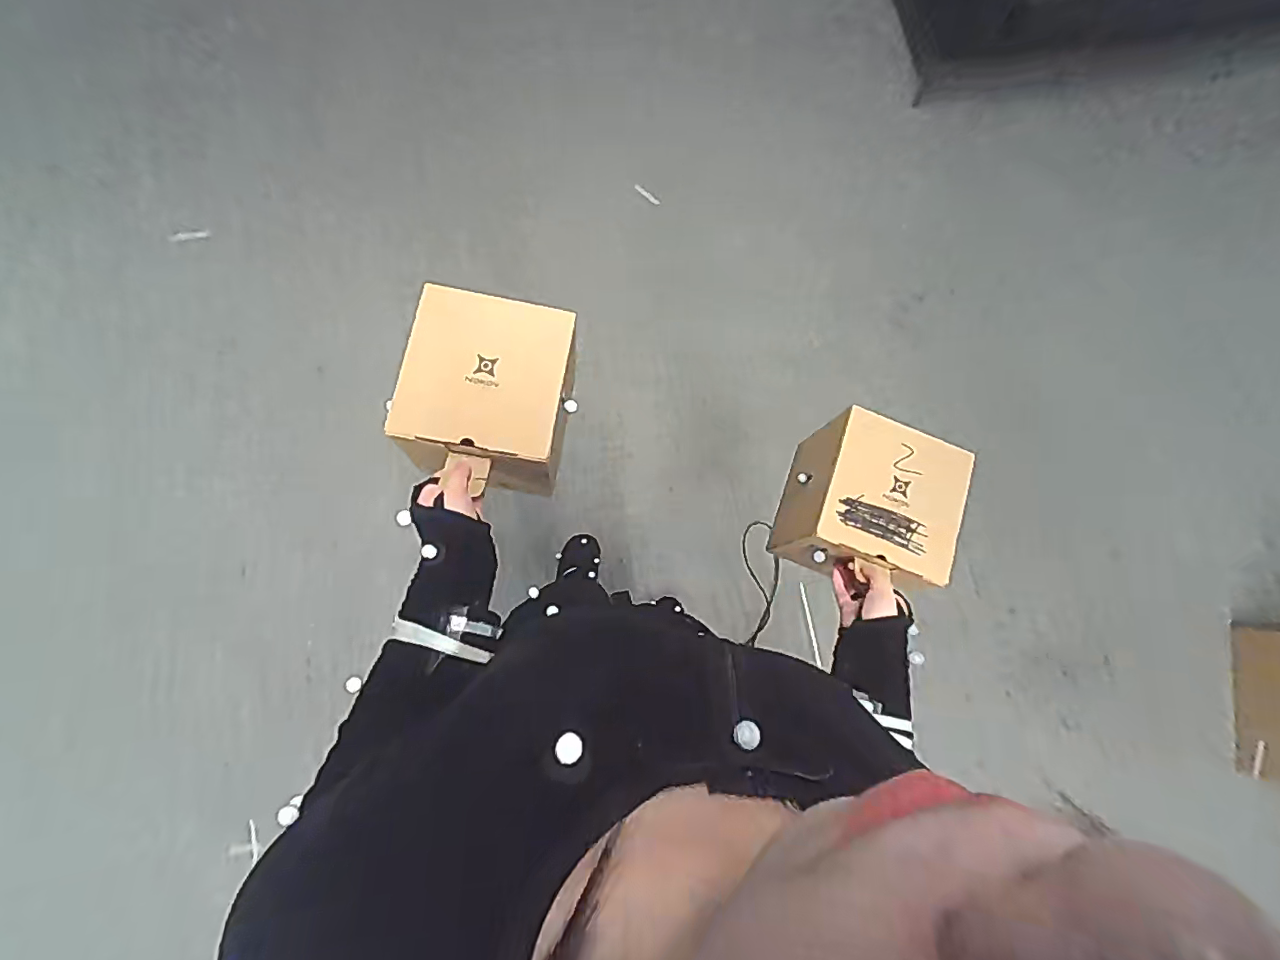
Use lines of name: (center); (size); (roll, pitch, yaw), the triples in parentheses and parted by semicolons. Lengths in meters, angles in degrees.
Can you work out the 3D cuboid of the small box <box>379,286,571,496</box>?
small box: (-0.180, -0.092, 0.638); (0.168, 0.176, 0.179); (9, 76, -6)
